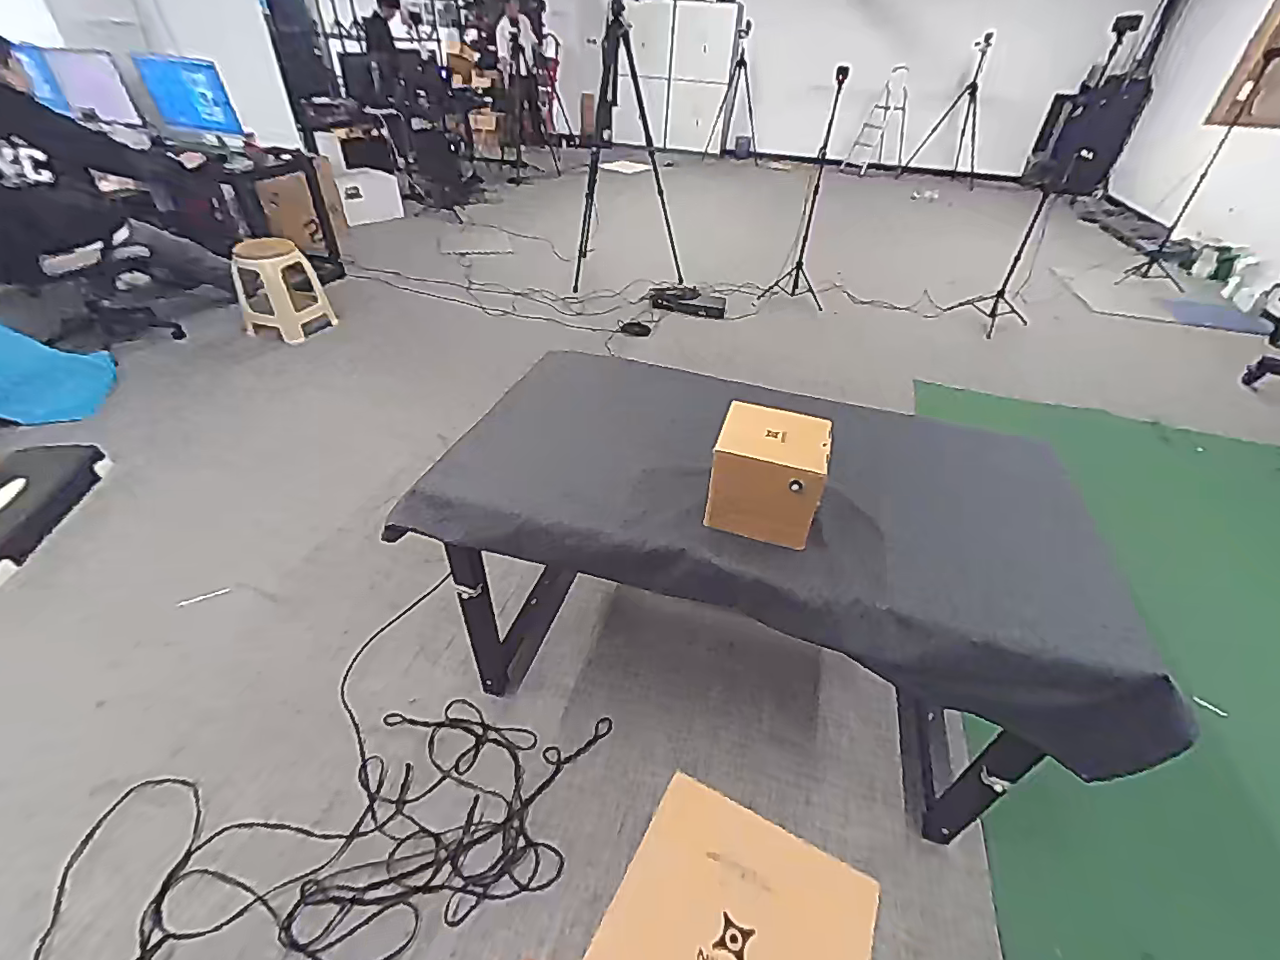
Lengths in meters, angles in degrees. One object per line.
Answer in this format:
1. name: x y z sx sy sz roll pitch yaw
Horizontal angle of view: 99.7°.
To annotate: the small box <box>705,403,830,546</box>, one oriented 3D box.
1. small box: 0.217 -0.009 0.937 0.179 0.176 0.168 13 40 12
